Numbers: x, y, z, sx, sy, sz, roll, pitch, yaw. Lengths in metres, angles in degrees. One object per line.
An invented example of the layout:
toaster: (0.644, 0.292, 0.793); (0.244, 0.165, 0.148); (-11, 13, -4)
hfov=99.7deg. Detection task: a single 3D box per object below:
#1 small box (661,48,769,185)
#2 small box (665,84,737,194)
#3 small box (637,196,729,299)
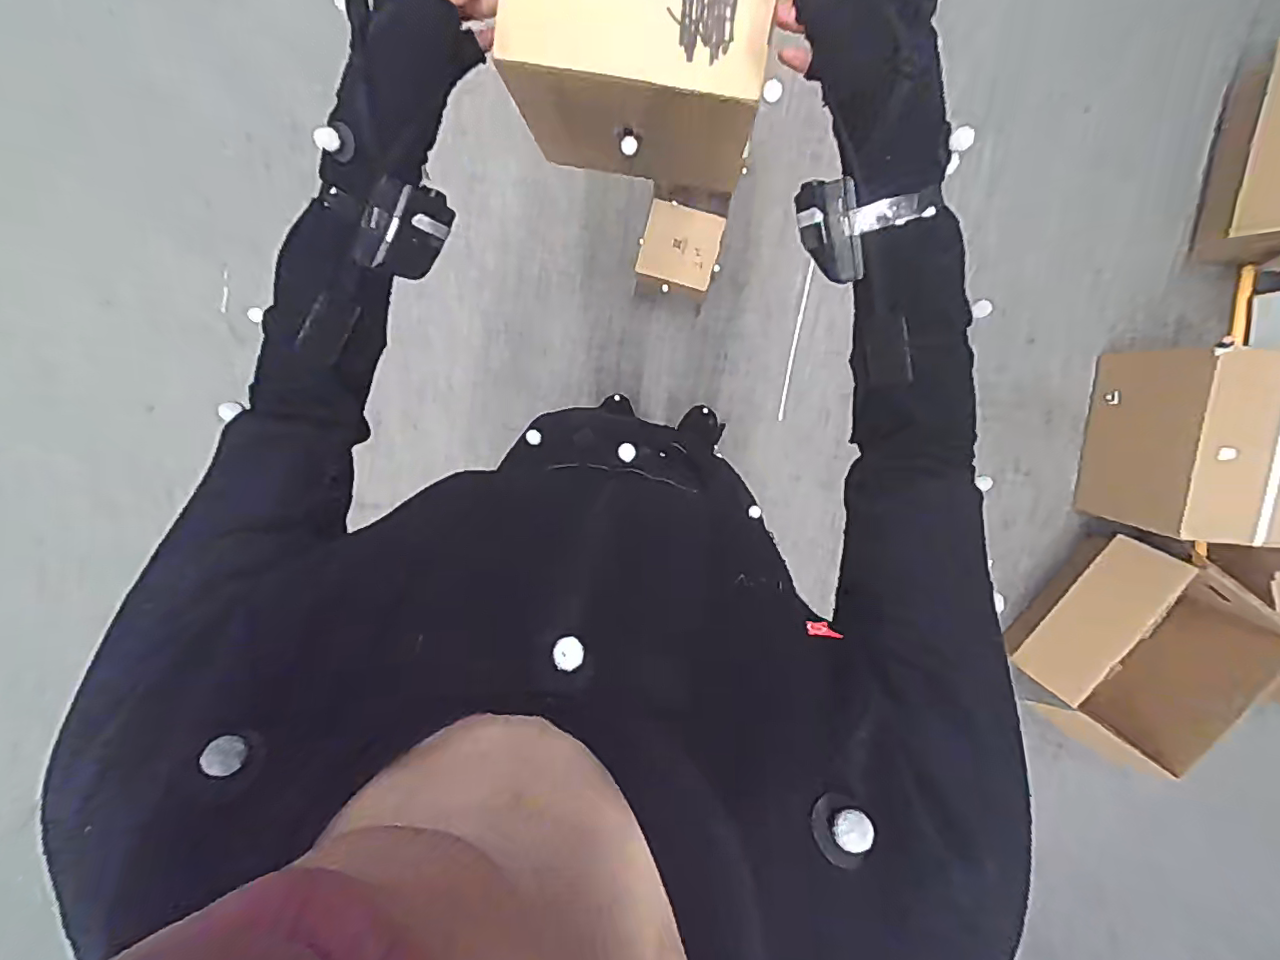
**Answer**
small box: (0.145, -0.729, 1.106); (0.179, 0.176, 0.168); (12, 100, 1)
small box: (0.152, -0.788, 1.263); (0.179, 0.176, 0.168); (5, 99, 1)
small box: (0.100, -0.549, 1.302); (0.179, 0.176, 0.168); (16, 100, 0)
